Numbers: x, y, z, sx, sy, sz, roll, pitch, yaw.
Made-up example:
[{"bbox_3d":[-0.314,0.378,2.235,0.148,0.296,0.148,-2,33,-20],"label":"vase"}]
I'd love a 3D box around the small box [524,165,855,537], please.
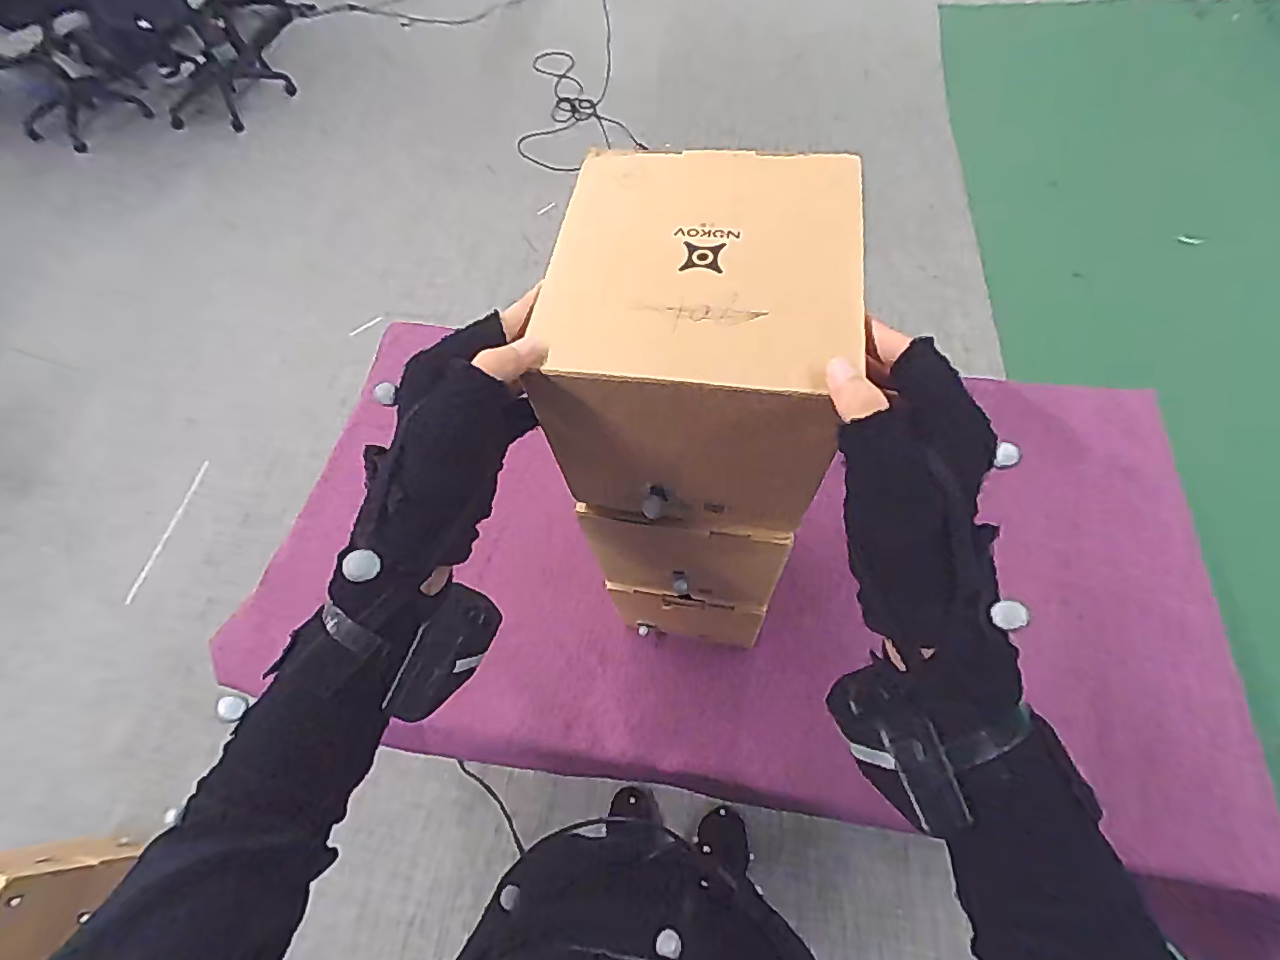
[{"bbox_3d":[0.040,-0.080,0.372,0.168,0.176,0.179,7,64,9],"label":"small box"}]

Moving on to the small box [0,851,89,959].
[{"bbox_3d":[-1.225,0.827,1.020,0.168,0.176,0.179,5,61,8],"label":"small box"}]

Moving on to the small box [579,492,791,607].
[{"bbox_3d":[0.053,0.004,0.518,0.168,0.176,0.179,7,62,10],"label":"small box"}]

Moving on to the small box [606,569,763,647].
[{"bbox_3d":[0.067,0.090,0.657,0.168,0.176,0.179,8,62,10],"label":"small box"}]
